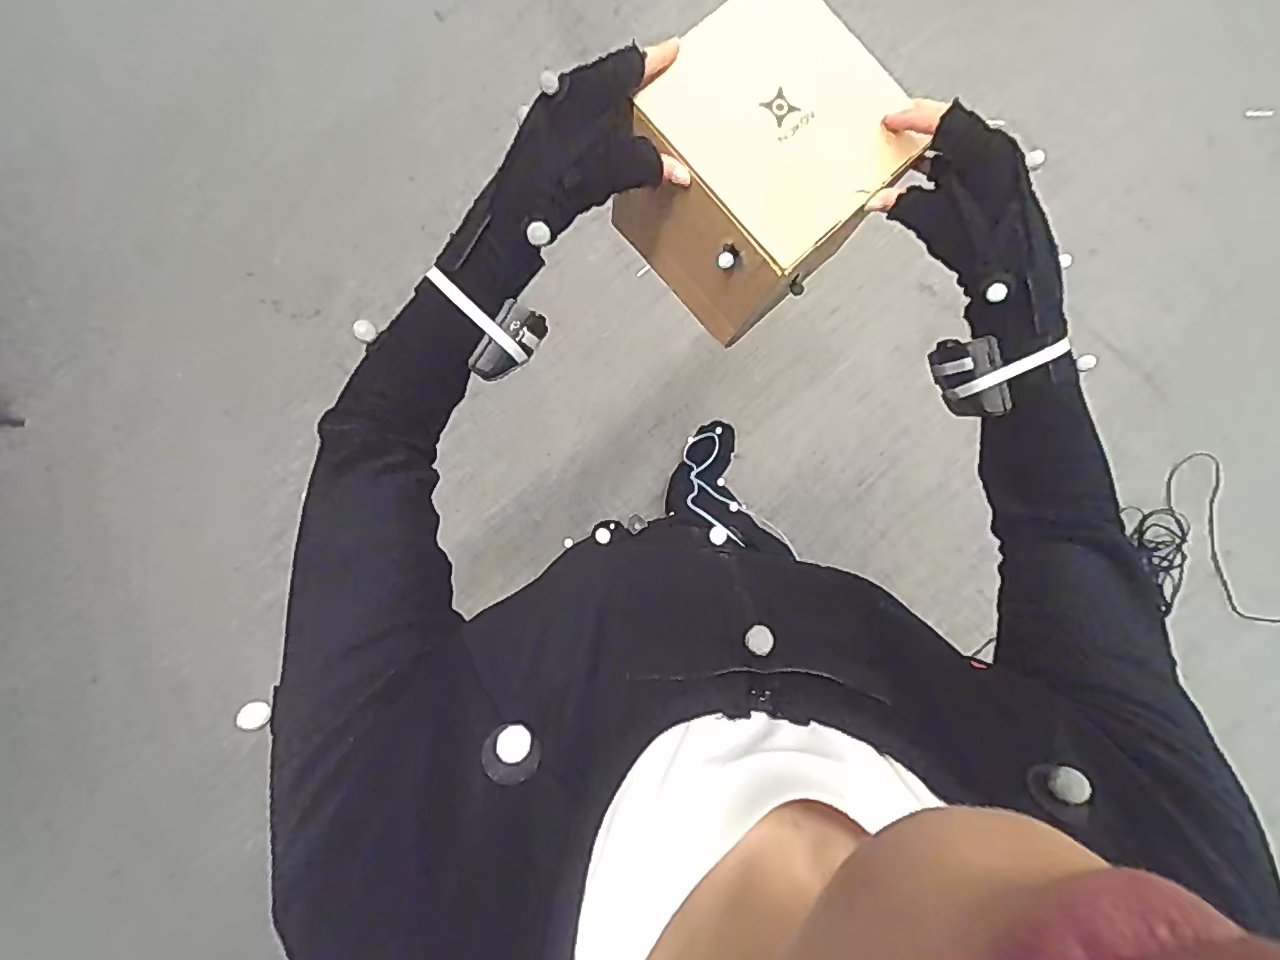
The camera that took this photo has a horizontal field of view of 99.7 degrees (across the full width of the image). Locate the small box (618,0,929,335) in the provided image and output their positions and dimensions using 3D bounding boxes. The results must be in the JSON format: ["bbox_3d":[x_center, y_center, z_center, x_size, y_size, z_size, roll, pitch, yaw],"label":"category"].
[{"bbox_3d":[0.096,-0.262,0.478,0.168,0.176,0.179,-42,91,-8],"label":"small box"}]
